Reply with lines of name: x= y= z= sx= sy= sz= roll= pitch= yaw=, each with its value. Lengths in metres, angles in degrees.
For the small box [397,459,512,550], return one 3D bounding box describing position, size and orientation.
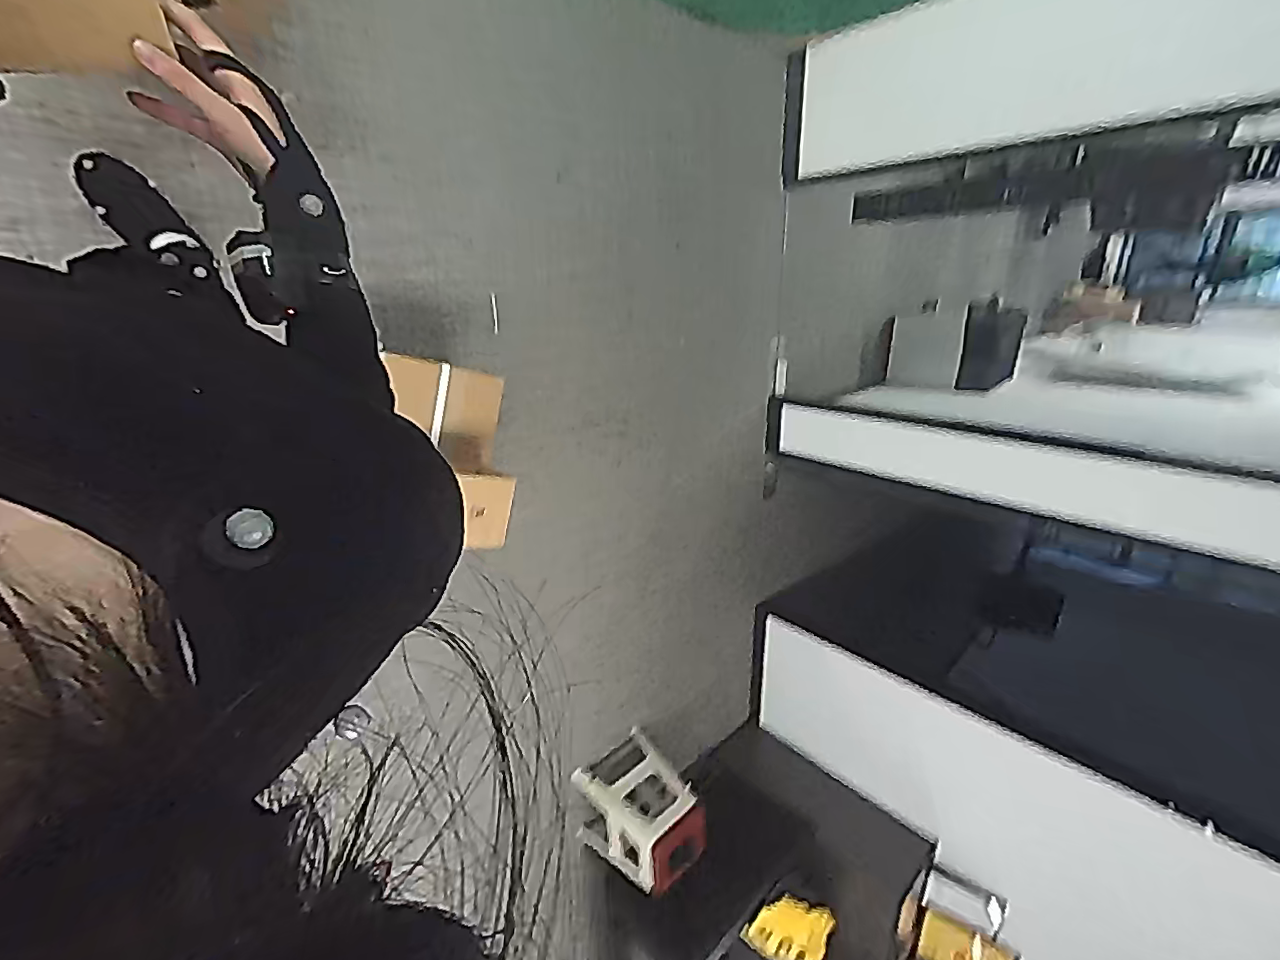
small box: x=-0.427 y=0.054 z=1.238 sx=0.179 sy=0.176 sz=0.168 roll=7 pitch=99 yaw=-47
